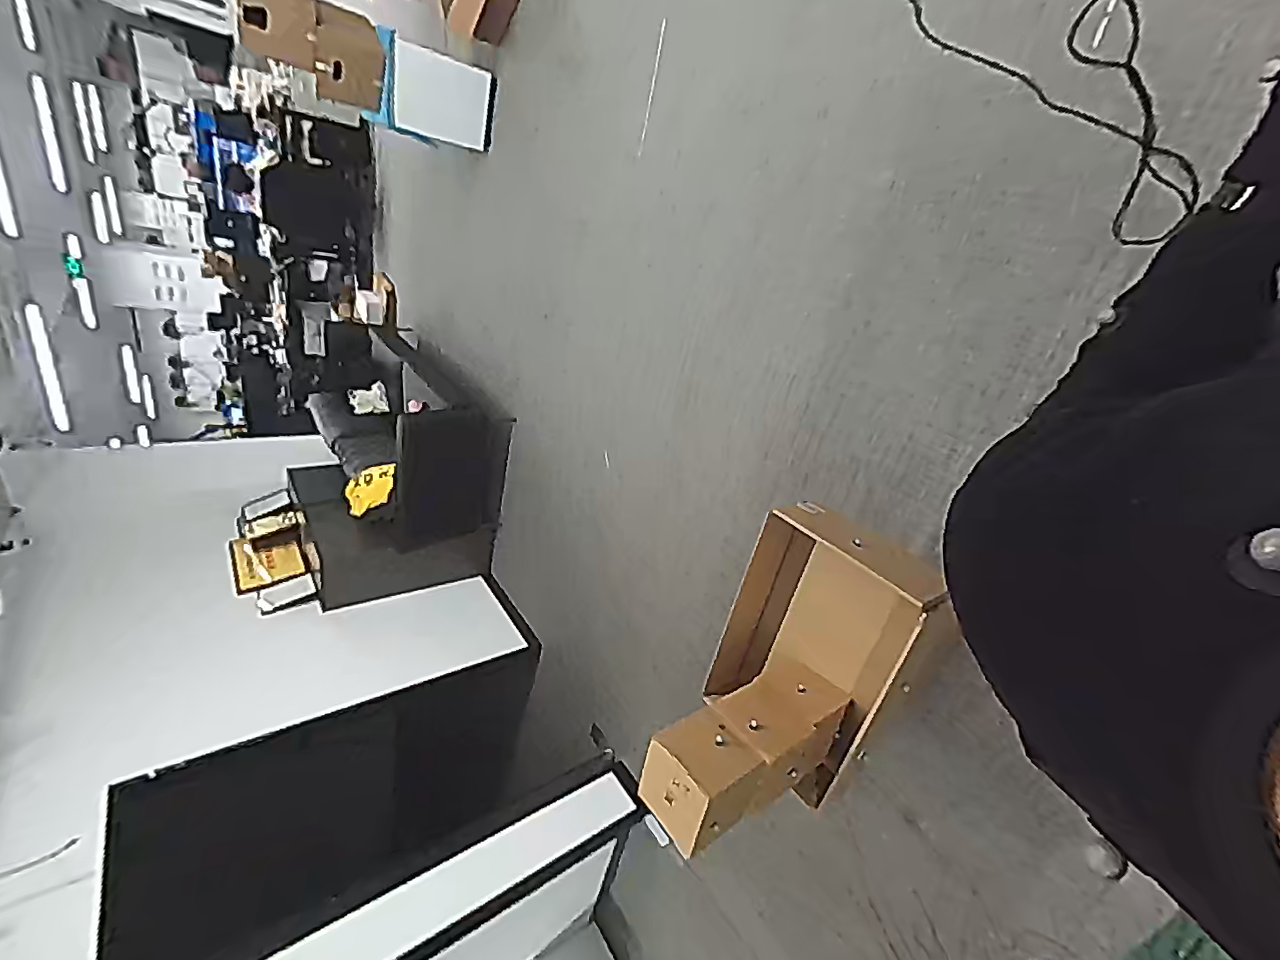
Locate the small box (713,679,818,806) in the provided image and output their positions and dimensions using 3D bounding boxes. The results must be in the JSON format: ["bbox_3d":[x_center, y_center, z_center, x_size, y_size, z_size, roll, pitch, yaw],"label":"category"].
[{"bbox_3d":[0.265,0.575,1.218,0.179,0.176,0.168,31,119,43],"label":"small box"}]

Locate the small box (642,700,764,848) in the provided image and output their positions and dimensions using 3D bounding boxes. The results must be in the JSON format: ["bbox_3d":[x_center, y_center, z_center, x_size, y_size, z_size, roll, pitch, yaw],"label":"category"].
[{"bbox_3d":[0.131,0.600,1.123,0.168,0.176,0.179,34,121,42],"label":"small box"}]
